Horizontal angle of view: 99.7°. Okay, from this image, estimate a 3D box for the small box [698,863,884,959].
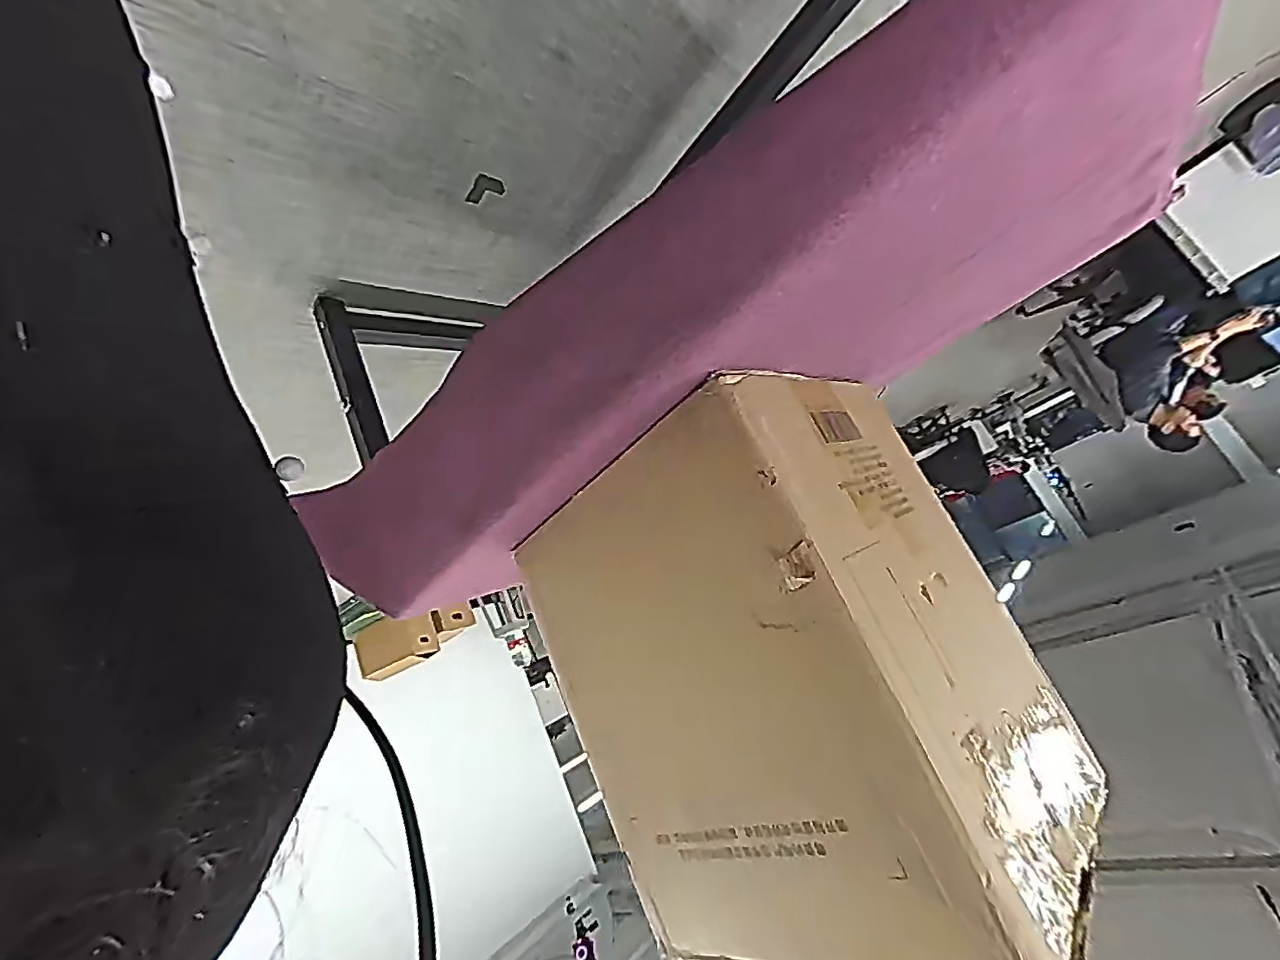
[{"bbox_3d":[0.208,0.663,0.730,0.168,0.176,0.179,-37,162,36],"label":"small box"}]
